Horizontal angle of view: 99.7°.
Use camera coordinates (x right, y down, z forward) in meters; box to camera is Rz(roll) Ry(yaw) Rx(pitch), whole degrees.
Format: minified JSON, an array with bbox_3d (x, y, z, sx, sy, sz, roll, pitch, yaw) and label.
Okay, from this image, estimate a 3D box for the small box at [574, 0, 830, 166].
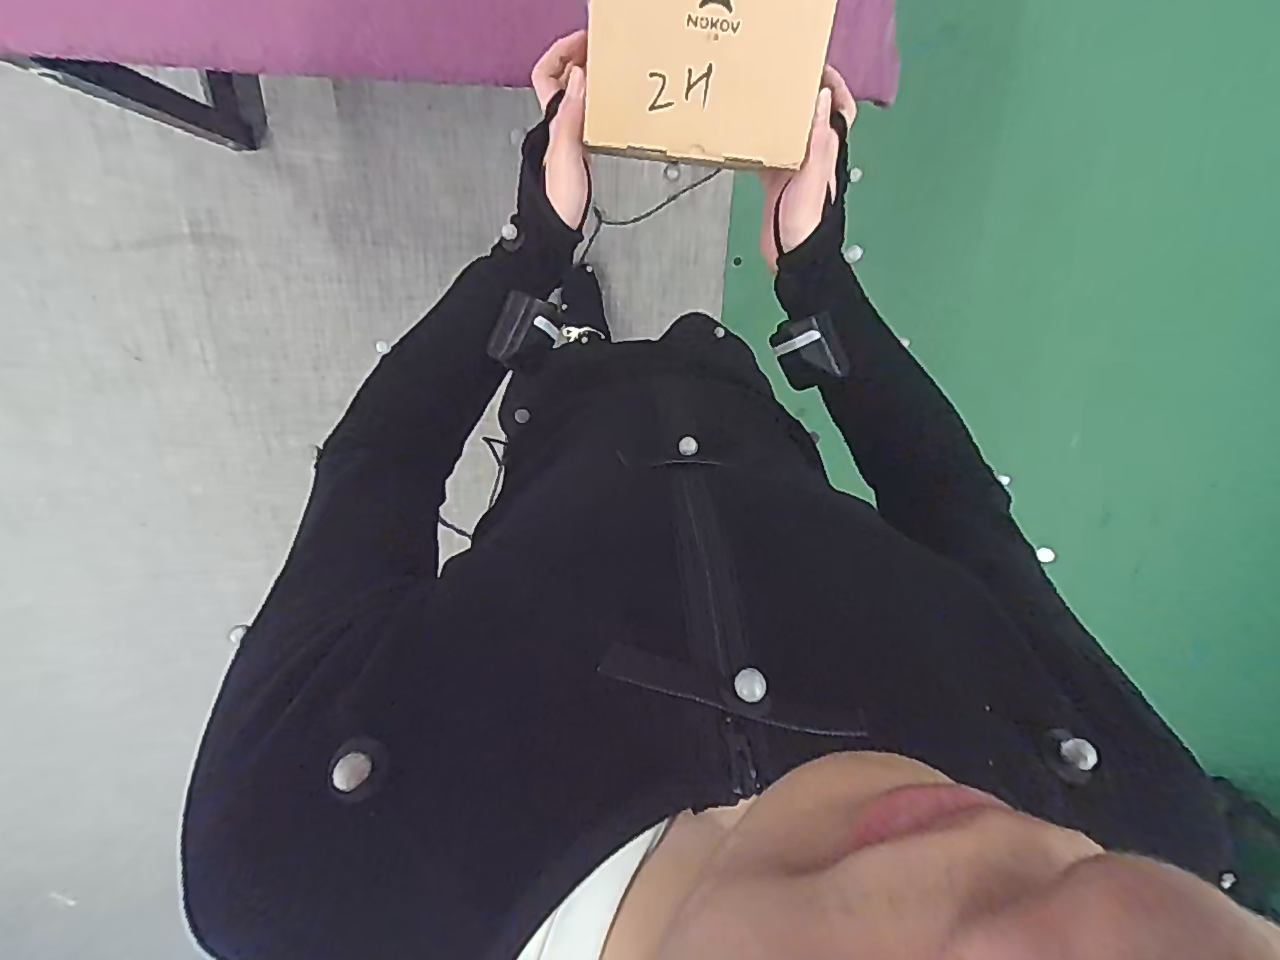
[{"bbox_3d":[0.037,-0.353,0.416,0.168,0.176,0.179,3,119,-6],"label":"small box"}]
